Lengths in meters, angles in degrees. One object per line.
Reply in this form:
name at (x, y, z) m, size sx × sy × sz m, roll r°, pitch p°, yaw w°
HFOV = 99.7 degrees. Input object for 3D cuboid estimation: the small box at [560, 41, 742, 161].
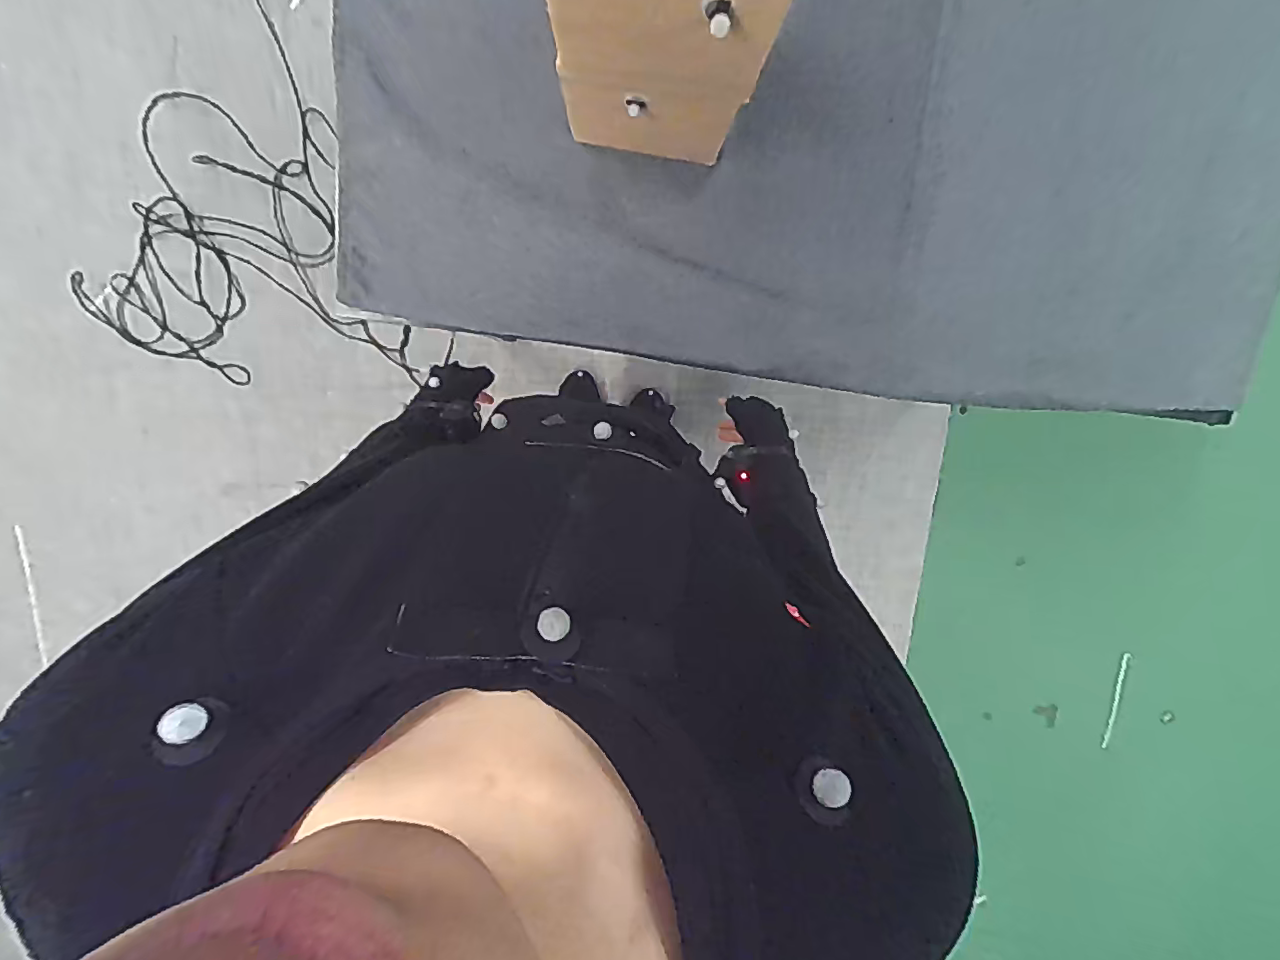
small box at (0.020, -0.468, 0.576) m, size 0.179 × 0.176 × 0.168 m, roll 8°, pitch 100°, yaw -4°

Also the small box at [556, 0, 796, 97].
small box at (0.030, -0.431, 0.415) m, size 0.179 × 0.176 × 0.168 m, roll 7°, pitch 100°, yaw -3°
